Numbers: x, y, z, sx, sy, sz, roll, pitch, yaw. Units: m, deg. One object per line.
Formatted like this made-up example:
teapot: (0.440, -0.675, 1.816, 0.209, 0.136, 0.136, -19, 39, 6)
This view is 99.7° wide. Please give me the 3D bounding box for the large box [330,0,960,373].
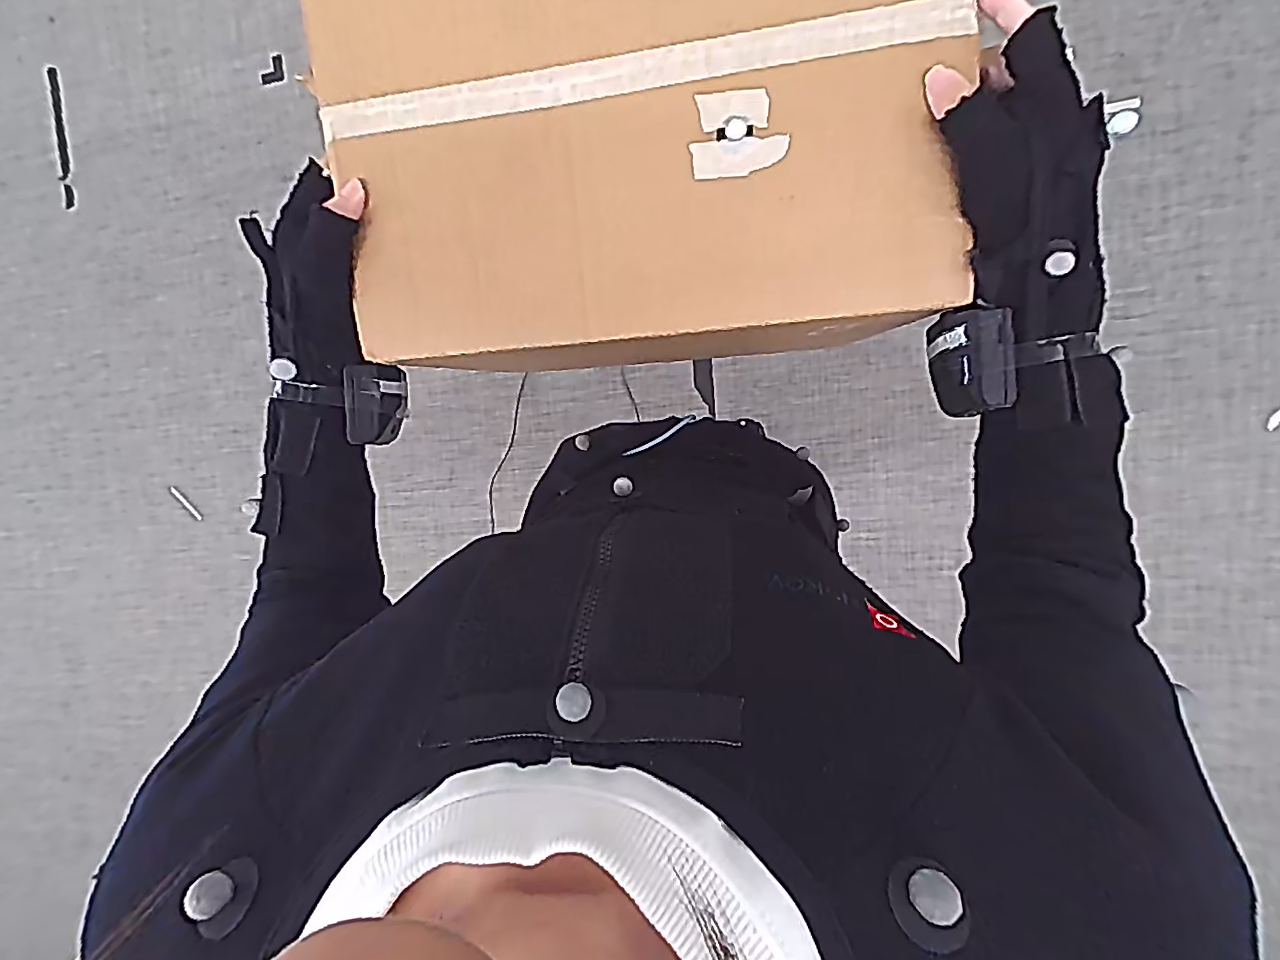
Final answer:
large box: (0.011, -0.279, 0.495, 0.408, 0.320, 0.320, -4, 99, 8)
